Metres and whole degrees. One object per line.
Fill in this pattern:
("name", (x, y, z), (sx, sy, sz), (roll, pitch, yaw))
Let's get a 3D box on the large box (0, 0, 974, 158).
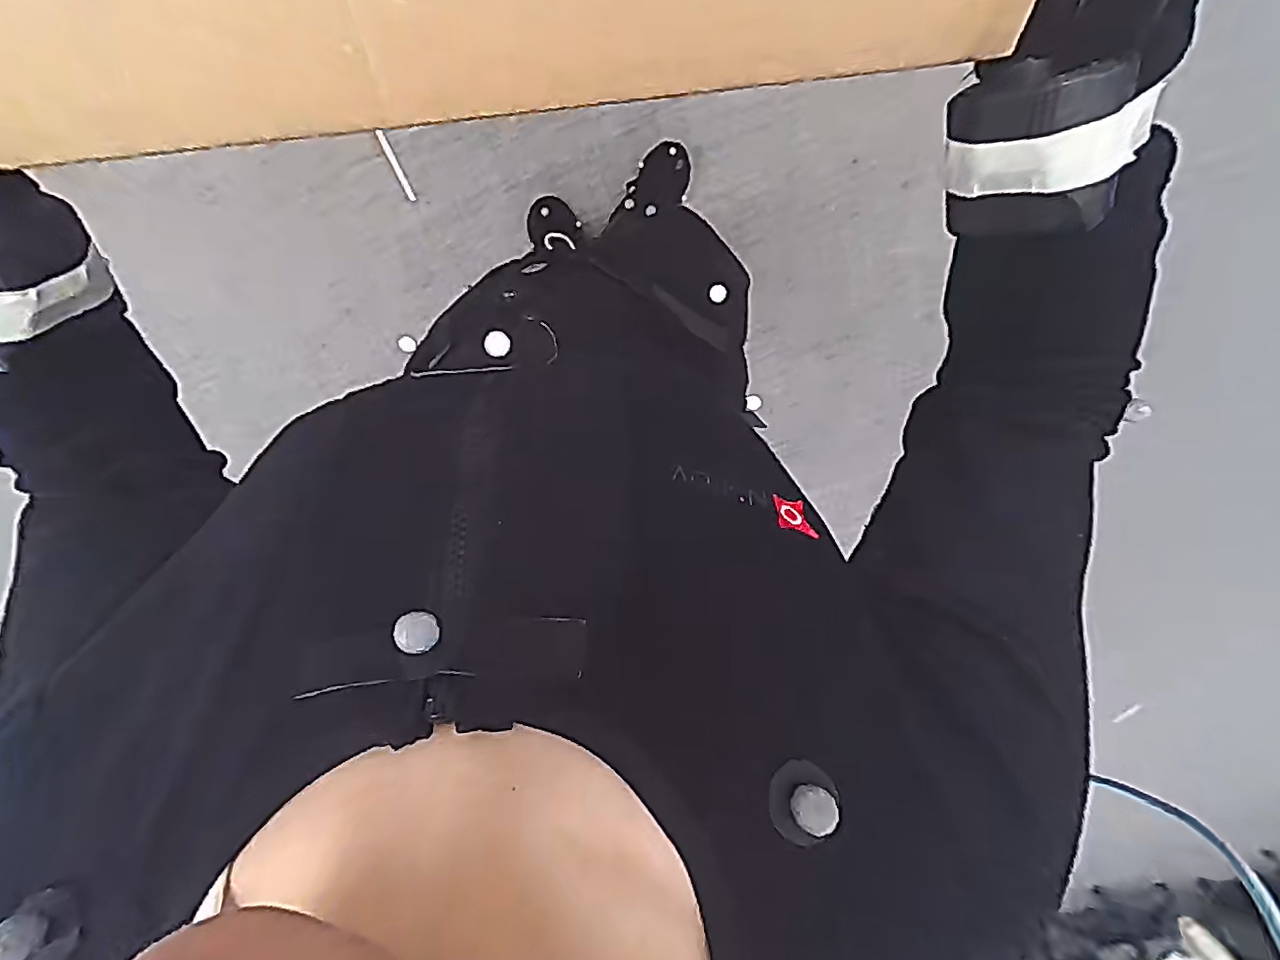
("large box", (-0.091, -0.362, 0.185), (0.408, 0.320, 0.320), (-8, 141, -1))
